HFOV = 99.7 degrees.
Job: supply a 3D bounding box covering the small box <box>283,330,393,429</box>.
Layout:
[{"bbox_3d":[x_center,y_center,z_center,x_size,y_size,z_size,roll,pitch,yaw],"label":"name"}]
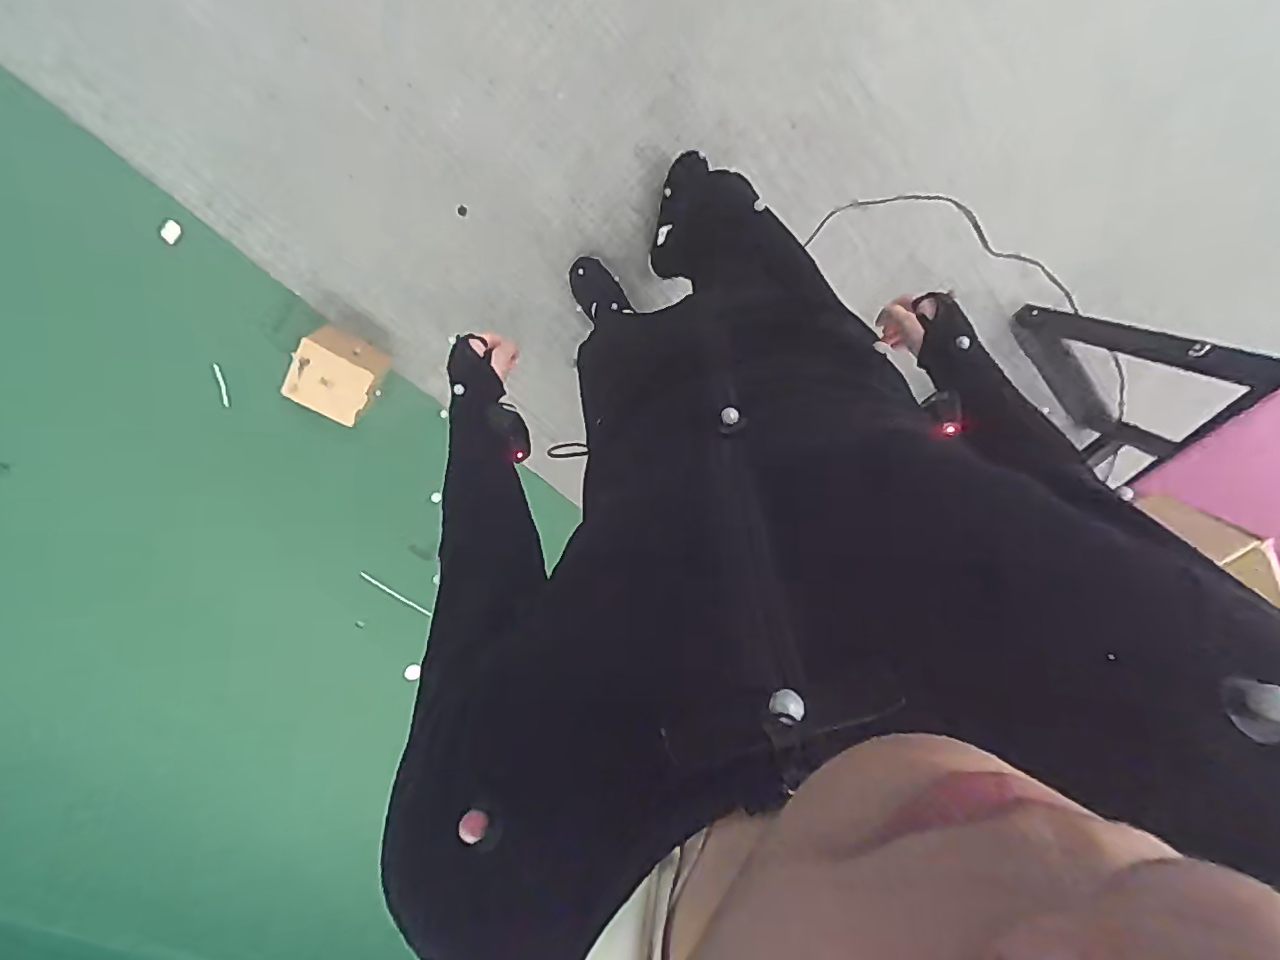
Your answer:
[{"bbox_3d":[-0.767,-0.266,1.395,0.179,0.176,0.168,29,110,-20],"label":"small box"}]
